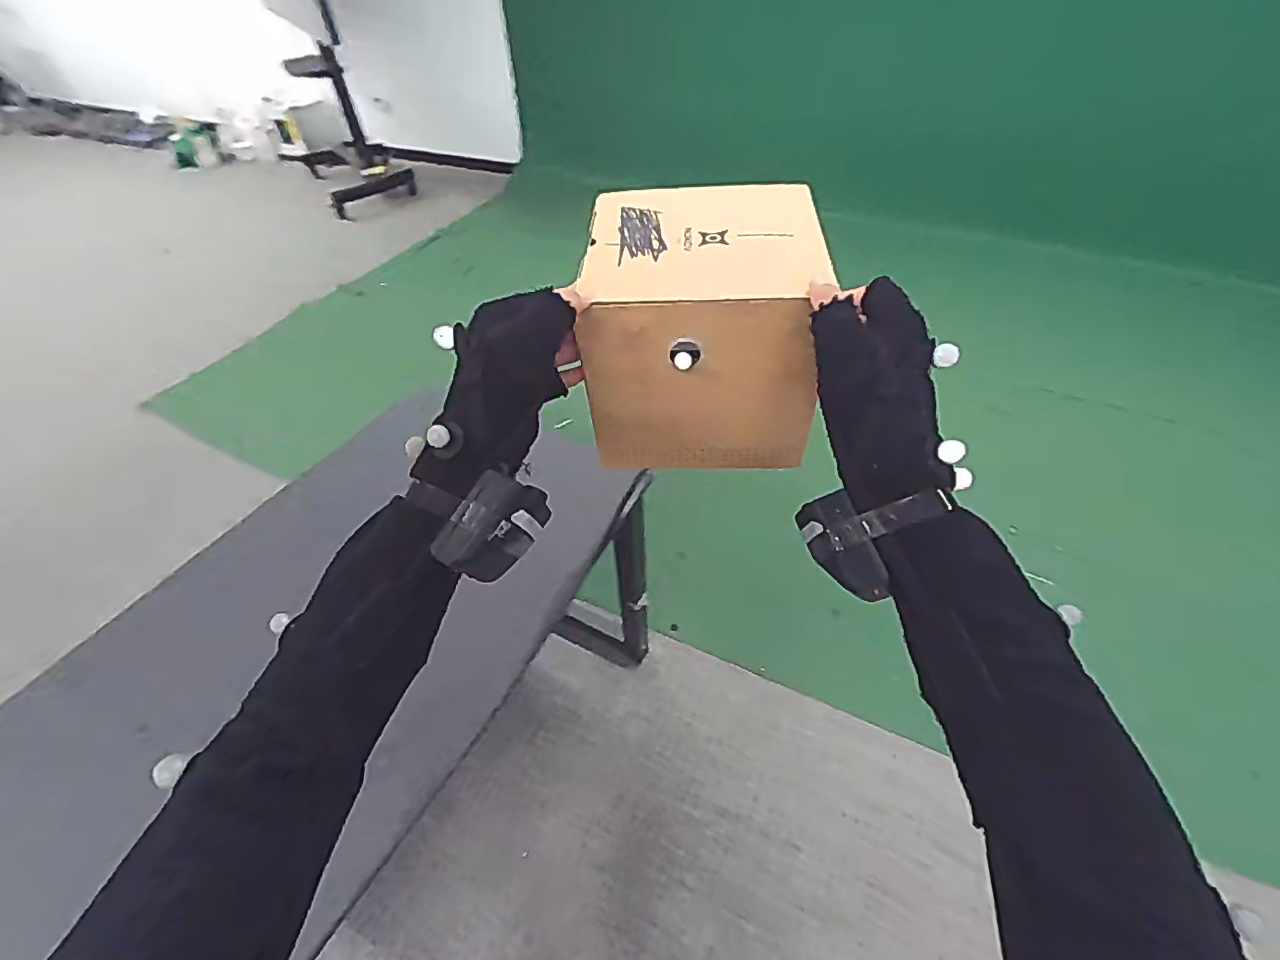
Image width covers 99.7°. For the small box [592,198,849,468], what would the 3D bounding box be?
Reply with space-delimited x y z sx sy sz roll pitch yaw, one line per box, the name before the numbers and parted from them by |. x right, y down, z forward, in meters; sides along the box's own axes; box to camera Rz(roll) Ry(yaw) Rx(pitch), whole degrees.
small box | 0.063 -0.124 0.474 0.179 0.176 0.168 1 50 5
